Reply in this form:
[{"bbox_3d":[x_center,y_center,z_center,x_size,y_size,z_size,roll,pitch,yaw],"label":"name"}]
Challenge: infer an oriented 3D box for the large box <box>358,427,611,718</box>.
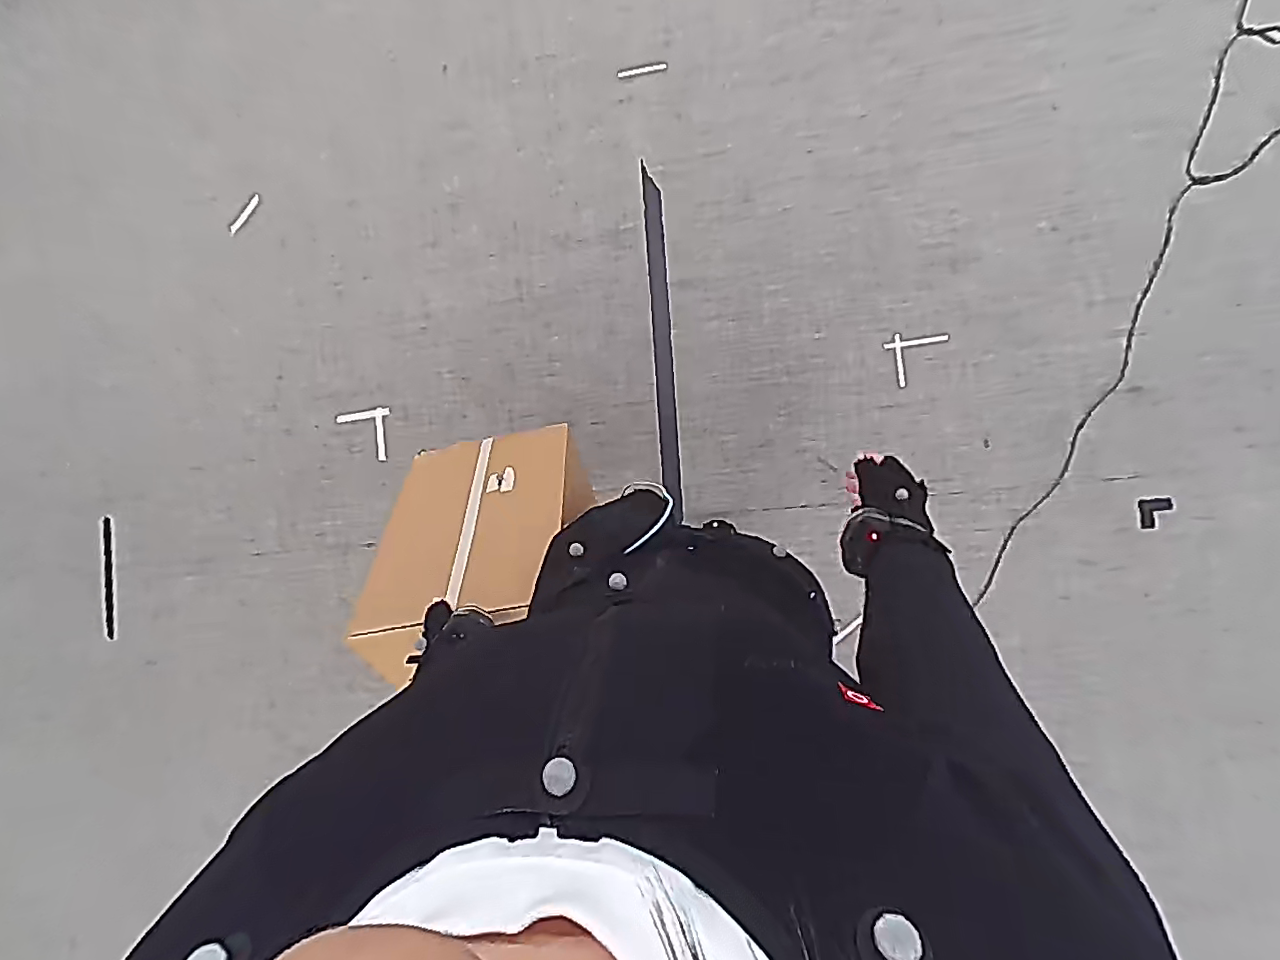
[{"bbox_3d":[-0.244,0.166,1.010,0.320,0.320,0.408,-11,42,6],"label":"large box"}]
